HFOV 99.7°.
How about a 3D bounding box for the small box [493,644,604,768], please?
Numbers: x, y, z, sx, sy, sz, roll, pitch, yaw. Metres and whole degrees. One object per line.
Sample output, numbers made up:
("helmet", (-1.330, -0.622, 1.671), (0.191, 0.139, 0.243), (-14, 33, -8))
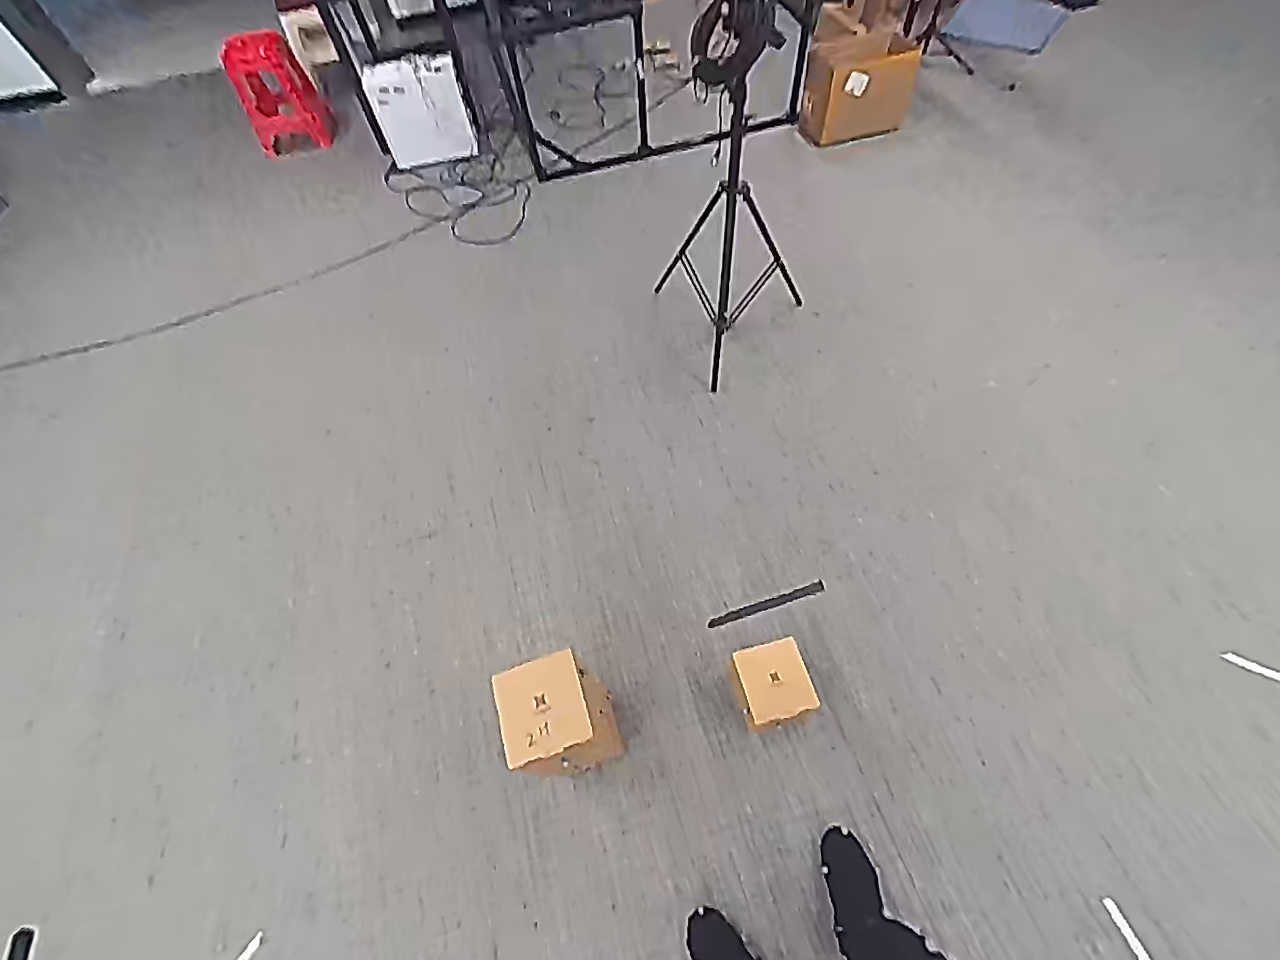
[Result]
("small box", (-0.181, 0.460, 1.094), (0.168, 0.176, 0.179), (-19, 59, -5))

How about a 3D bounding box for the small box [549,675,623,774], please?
("small box", (-0.152, 0.625, 1.376), (0.168, 0.176, 0.179), (-19, 58, -5))

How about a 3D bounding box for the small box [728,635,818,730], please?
("small box", (0.333, 0.526, 1.395), (0.168, 0.176, 0.179), (-15, 59, -4))
